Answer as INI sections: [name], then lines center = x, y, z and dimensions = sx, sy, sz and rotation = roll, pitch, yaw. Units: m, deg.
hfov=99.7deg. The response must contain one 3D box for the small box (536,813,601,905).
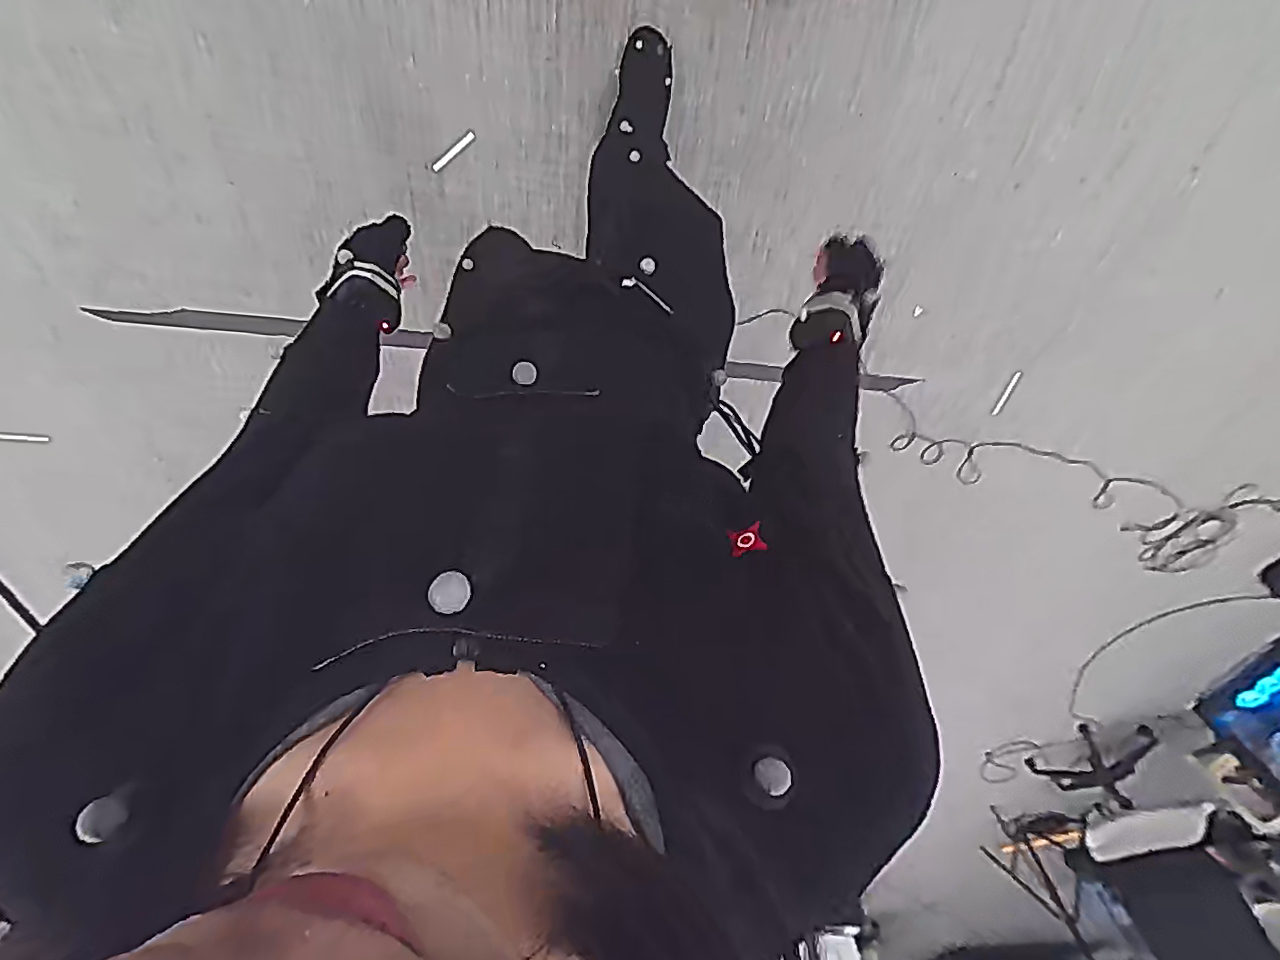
[small box]
center = -0.194, 1.056, 1.507
dimensions = 0.168, 0.176, 0.179
rotation = 1, 126, -4
